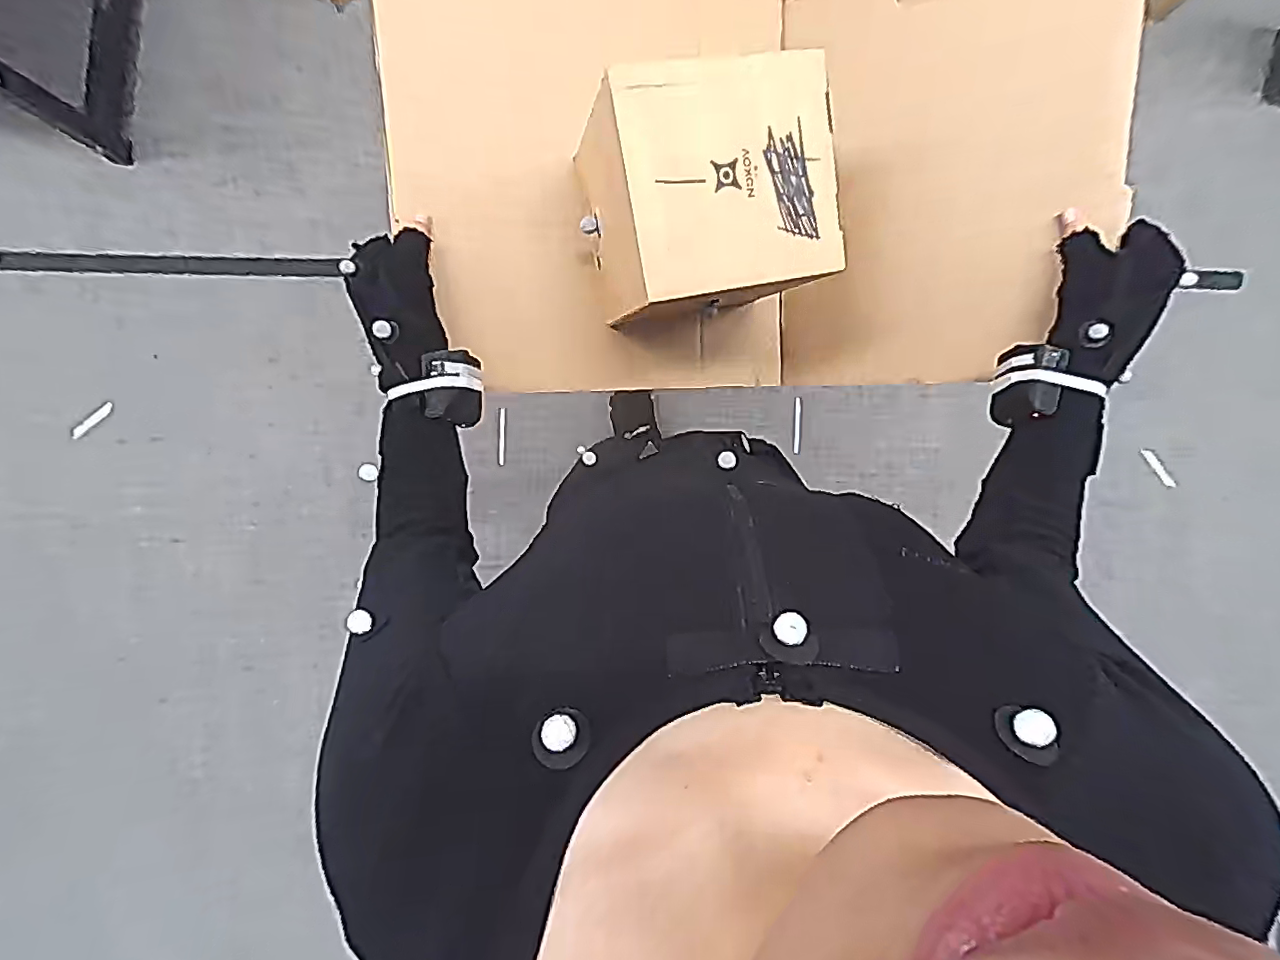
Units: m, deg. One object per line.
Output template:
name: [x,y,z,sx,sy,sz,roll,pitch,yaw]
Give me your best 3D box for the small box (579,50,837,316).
small box: [0.052,-0.255,0.500,0.179,0.176,0.168,-13,102,-12]
